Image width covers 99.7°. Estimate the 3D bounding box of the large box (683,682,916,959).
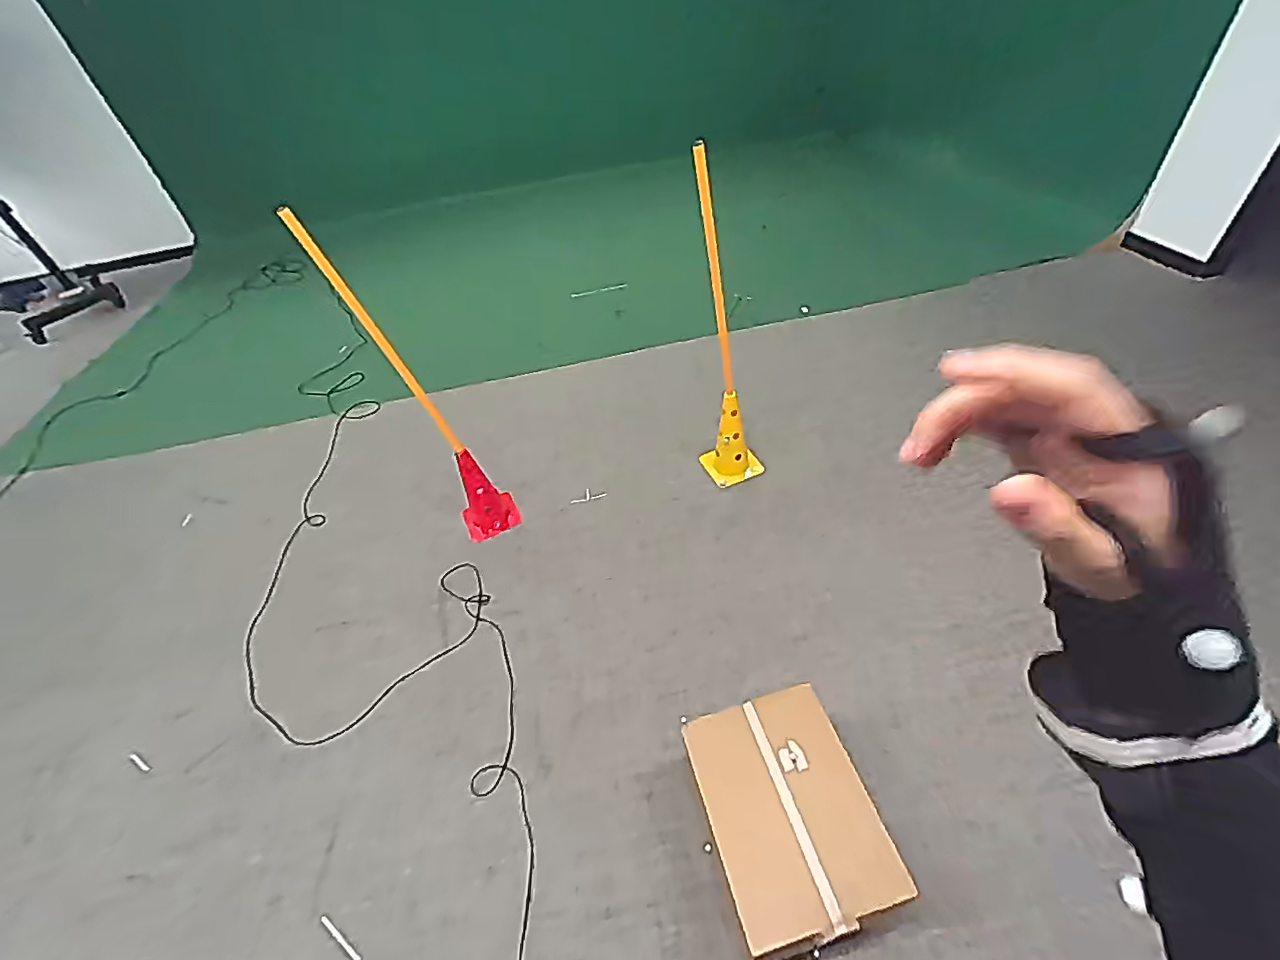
[{"bbox_3d":[0.313,0.734,1.173,0.320,0.320,0.408,-15,43,-6],"label":"large box"}]
